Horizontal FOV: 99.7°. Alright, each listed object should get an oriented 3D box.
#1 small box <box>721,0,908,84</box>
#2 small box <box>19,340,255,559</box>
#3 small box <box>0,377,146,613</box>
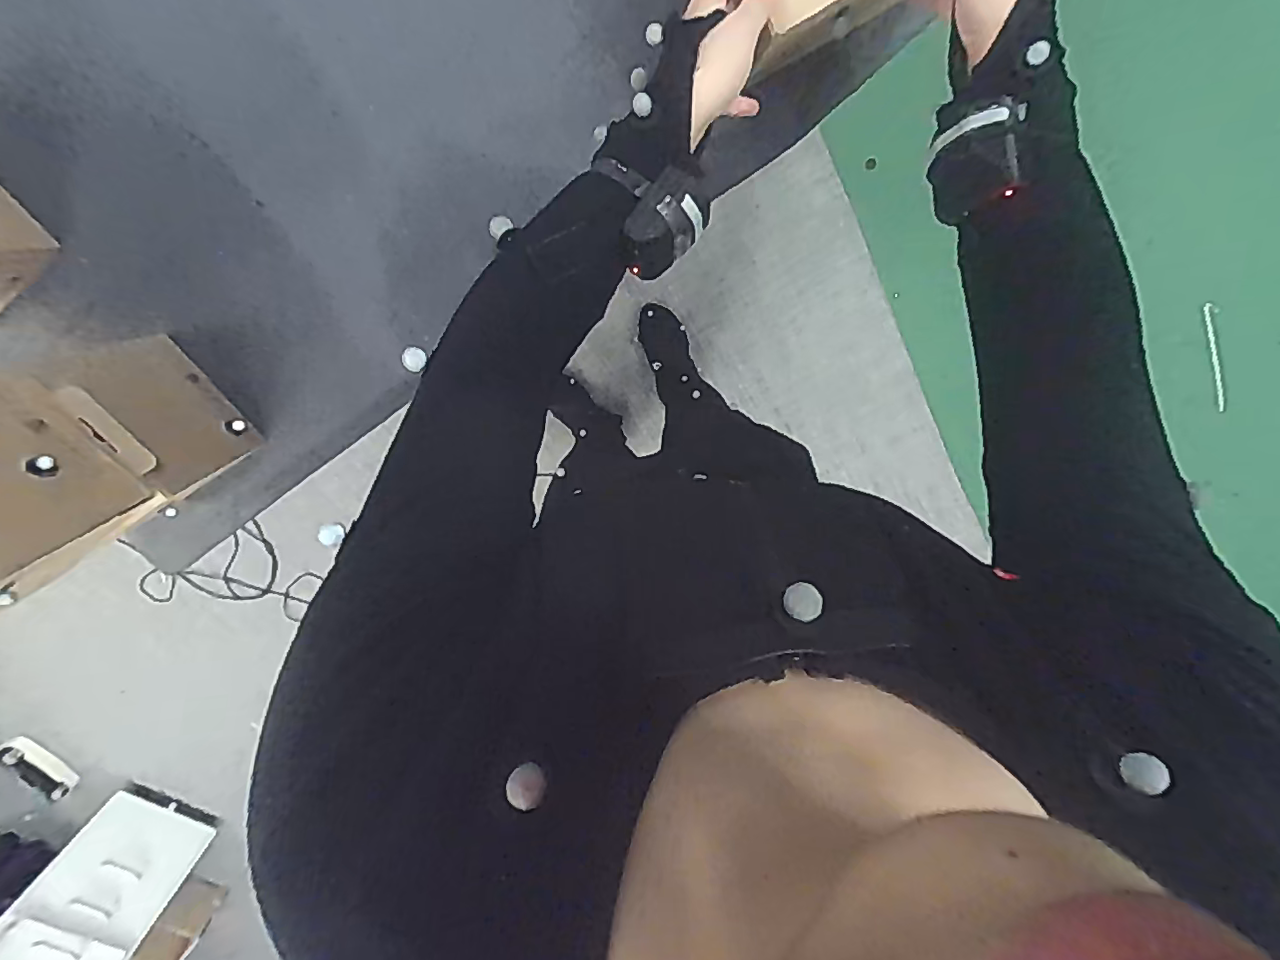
[{"bbox_3d":[0.144,-0.448,0.416,0.179,0.176,0.168,-22,112,12],"label":"small box"},{"bbox_3d":[-0.602,-0.041,0.631,0.179,0.176,0.168,-28,112,14],"label":"small box"},{"bbox_3d":[-0.619,0.034,0.487,0.179,0.176,0.168,-32,111,15],"label":"small box"}]
